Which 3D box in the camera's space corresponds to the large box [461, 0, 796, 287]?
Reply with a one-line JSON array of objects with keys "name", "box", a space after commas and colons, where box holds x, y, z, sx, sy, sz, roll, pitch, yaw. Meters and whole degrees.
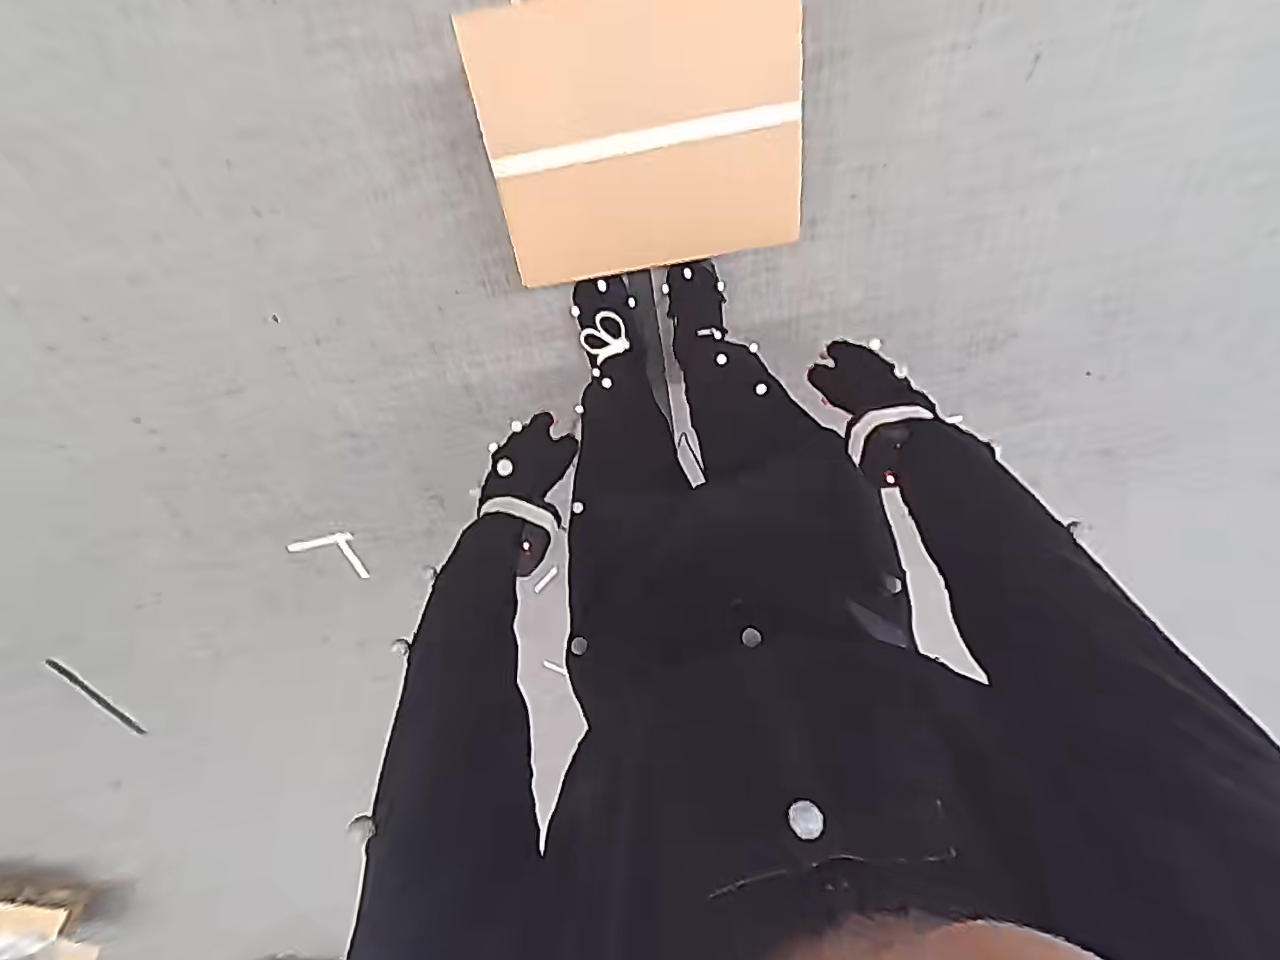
[{"name": "large box", "box": [-0.003, -0.523, 0.830, 0.408, 0.320, 0.320, -9, 125, 2]}]
